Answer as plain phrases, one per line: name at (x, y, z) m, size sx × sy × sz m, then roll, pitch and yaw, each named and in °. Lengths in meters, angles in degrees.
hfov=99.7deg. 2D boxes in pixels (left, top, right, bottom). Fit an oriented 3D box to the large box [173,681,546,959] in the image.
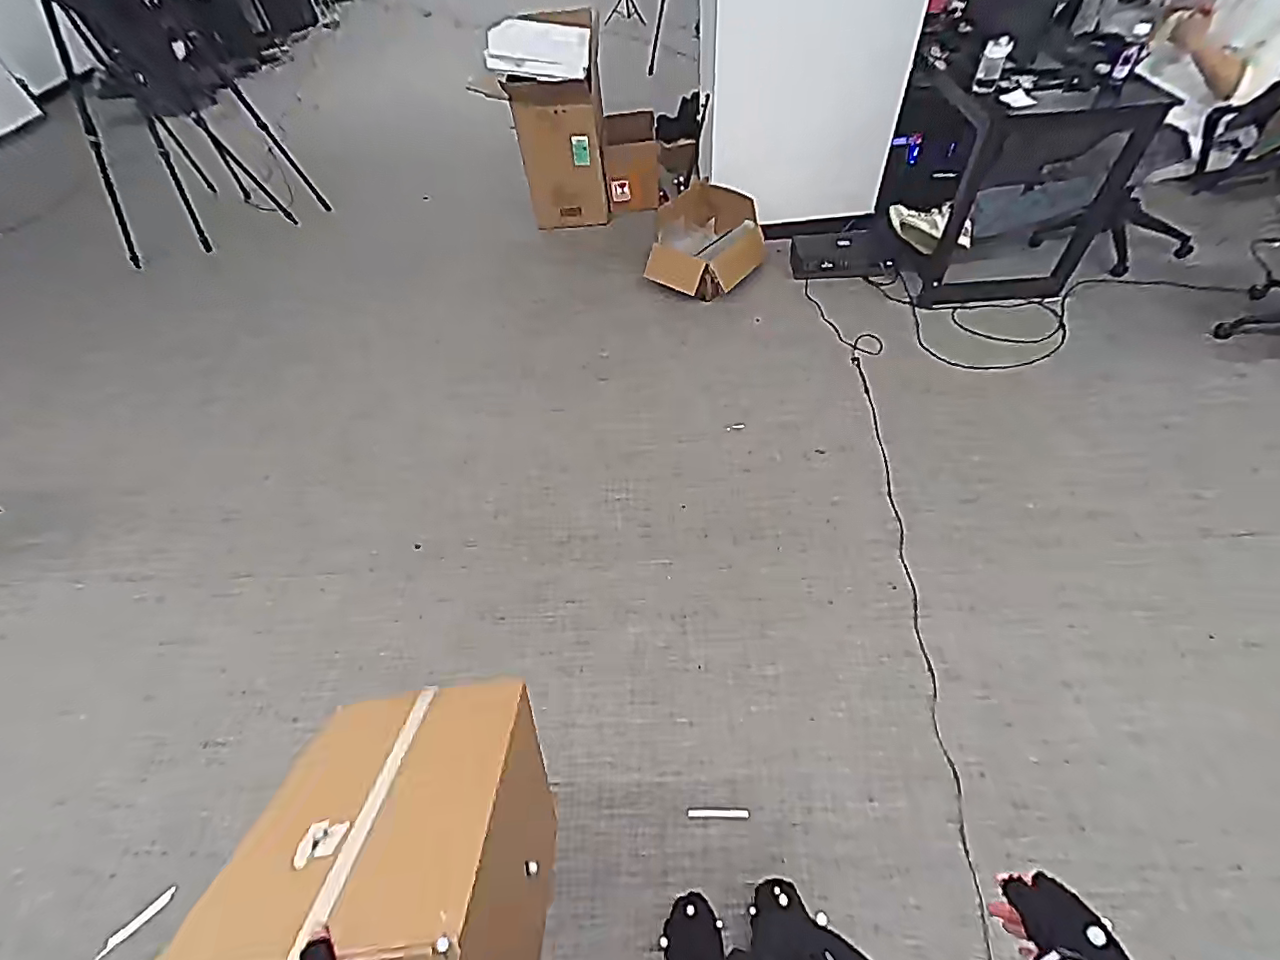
large box at (-0.322, 0.557, 0.761) m, size 0.320 × 0.320 × 0.408 m, roll -10°, pitch 18°, yaw -1°
